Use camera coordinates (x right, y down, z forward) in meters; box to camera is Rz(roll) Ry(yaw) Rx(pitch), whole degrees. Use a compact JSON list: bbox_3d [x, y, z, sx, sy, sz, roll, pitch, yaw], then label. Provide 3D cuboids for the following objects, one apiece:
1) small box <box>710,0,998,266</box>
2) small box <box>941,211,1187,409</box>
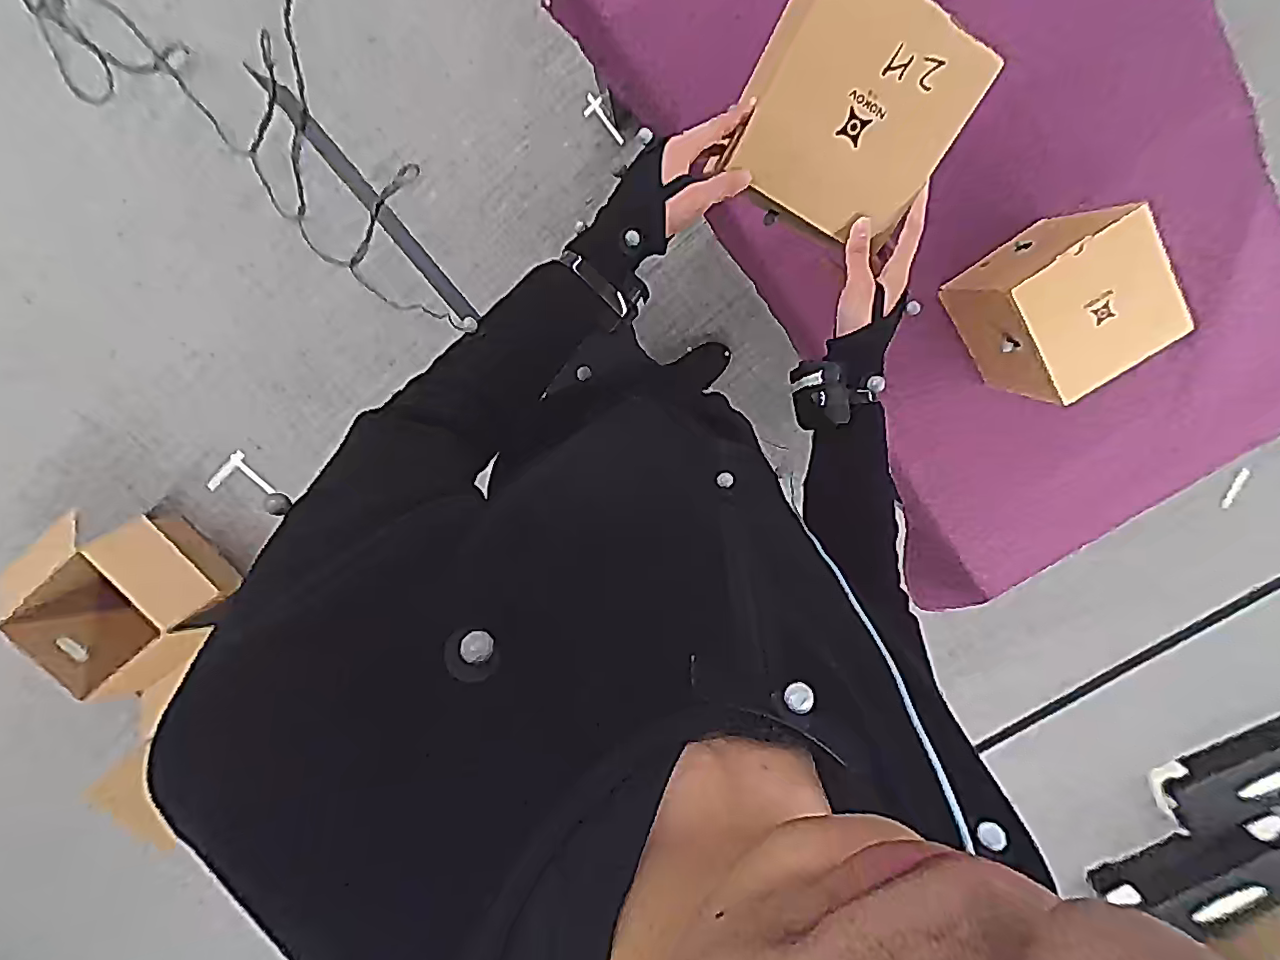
[{"bbox_3d":[0.182,-0.339,0.527,0.168,0.176,0.179,24,115,-14],"label":"small box"},{"bbox_3d":[0.551,-0.225,0.725,0.168,0.176,0.179,-34,105,11],"label":"small box"}]
